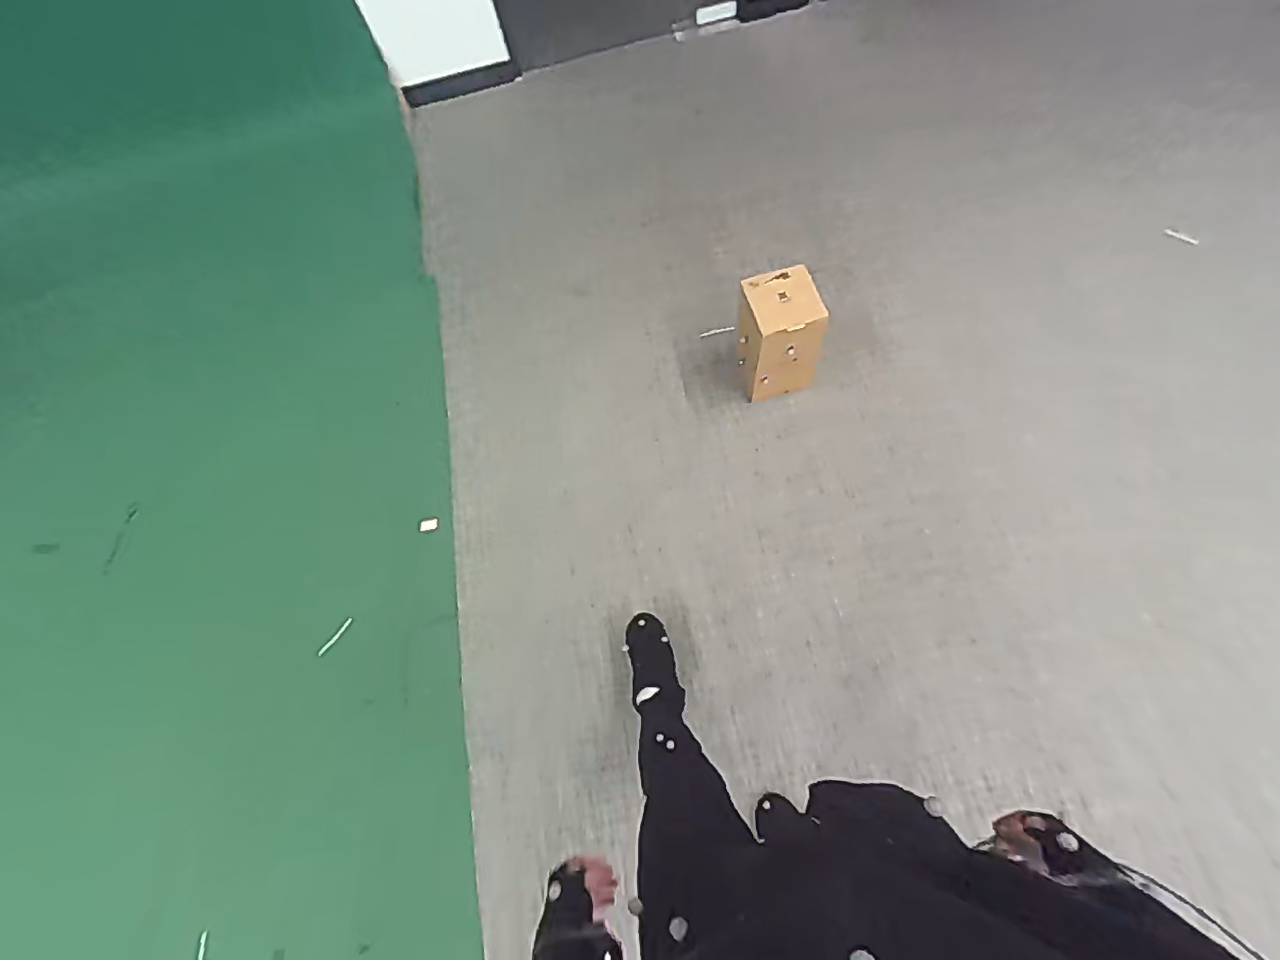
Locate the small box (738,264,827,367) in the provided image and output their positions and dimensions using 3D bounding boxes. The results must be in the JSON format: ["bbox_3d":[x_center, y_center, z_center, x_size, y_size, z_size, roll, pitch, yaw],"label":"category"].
[{"bbox_3d":[0.354,-0.407,1.375,0.168,0.176,0.179,-15,68,1],"label":"small box"}]
